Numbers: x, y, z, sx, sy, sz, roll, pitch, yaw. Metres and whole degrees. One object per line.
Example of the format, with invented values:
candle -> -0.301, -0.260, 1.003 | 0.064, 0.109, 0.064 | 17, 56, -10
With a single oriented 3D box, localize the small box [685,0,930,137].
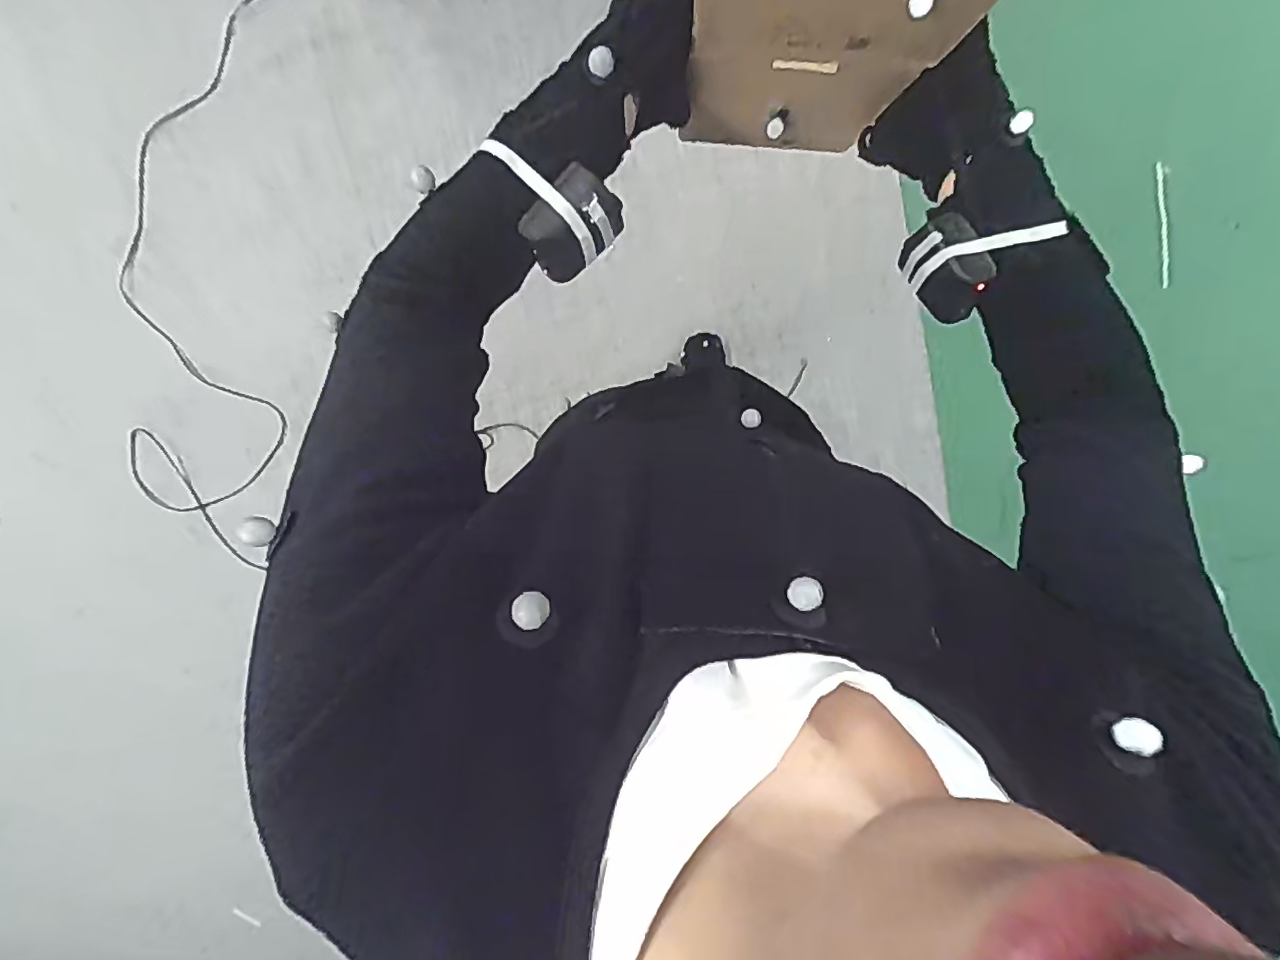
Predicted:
small box -> 0.121, -0.392, 0.424 | 0.168, 0.176, 0.179 | 2, 104, 3

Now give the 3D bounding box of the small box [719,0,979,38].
small box -> 0.121, -0.346, 0.248 | 0.168, 0.176, 0.179 | 4, 104, 2
